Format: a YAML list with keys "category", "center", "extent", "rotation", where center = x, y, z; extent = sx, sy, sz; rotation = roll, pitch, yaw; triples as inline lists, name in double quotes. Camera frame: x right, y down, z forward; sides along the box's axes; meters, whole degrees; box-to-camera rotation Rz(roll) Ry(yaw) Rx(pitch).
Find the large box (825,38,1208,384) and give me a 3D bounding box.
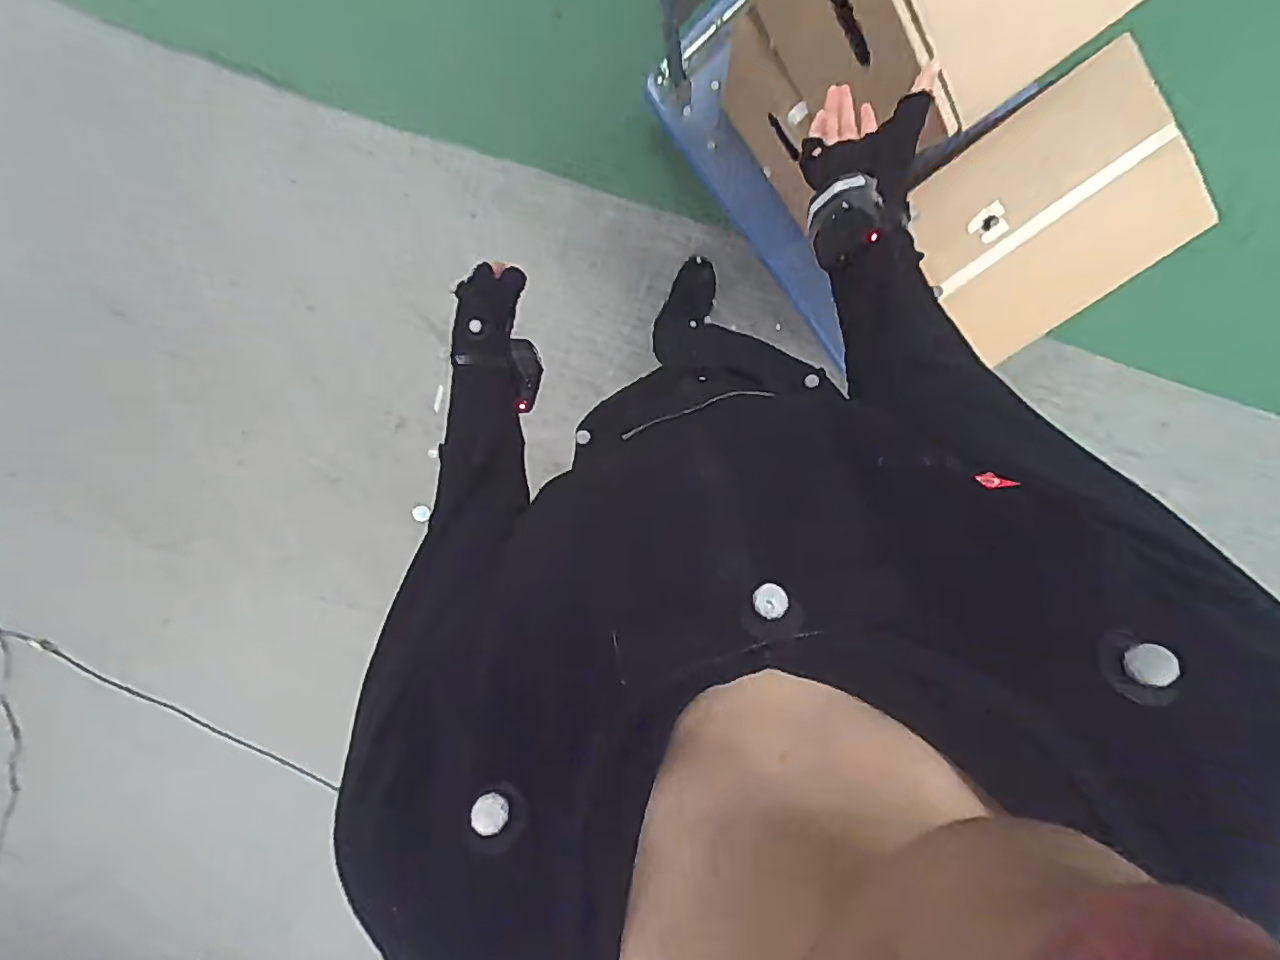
- category: "large box"
  center: [0.614, -0.431, 0.963]
  extent: [0.408, 0.320, 0.320]
  rotation: [-35, 100, 14]
